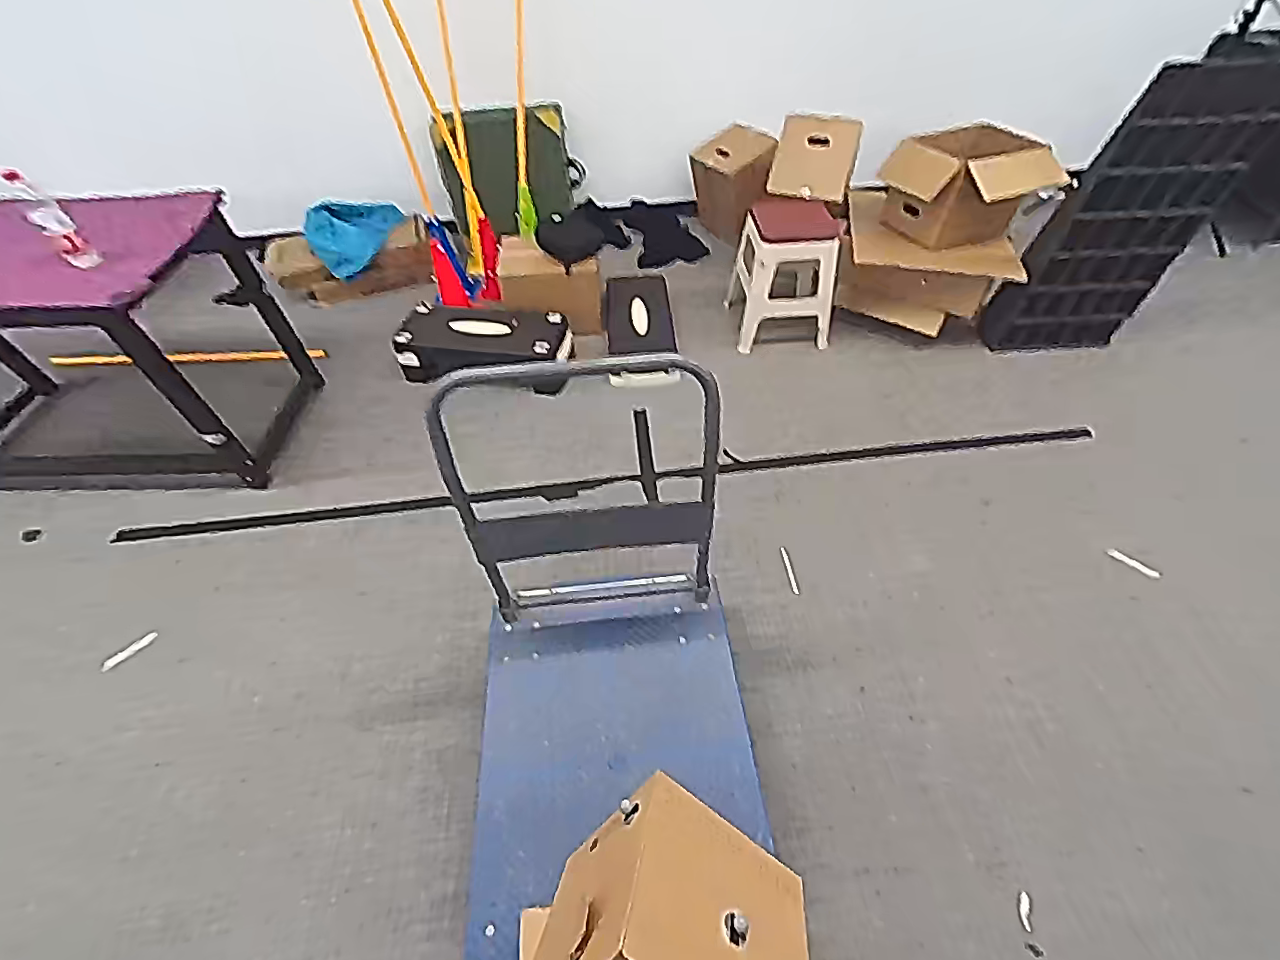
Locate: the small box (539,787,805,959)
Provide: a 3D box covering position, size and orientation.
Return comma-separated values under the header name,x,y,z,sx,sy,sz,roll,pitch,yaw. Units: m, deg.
name,x,y,z,sx,sy,sz,roll,pitch,yaw
small box,0.022,0.405,0.464,0.179,0.168,0.176,37,20,-1
